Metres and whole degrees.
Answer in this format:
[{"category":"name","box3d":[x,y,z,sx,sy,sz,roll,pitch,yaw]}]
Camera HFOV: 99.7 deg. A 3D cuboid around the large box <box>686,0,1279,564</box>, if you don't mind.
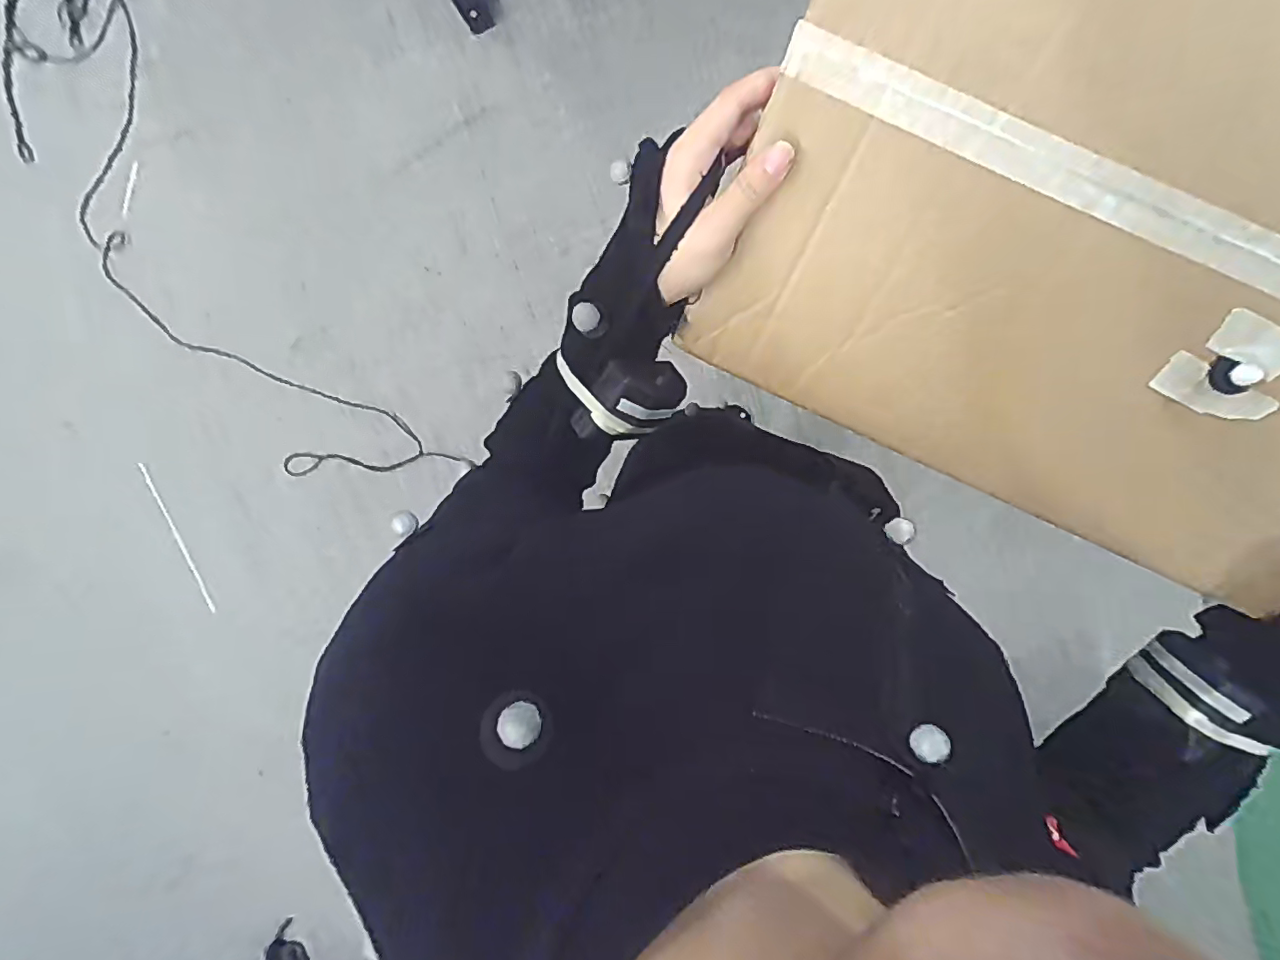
[{"category":"large box","box3d":[0.287,-0.212,0.388,0.408,0.320,0.320,24,122,0]}]
